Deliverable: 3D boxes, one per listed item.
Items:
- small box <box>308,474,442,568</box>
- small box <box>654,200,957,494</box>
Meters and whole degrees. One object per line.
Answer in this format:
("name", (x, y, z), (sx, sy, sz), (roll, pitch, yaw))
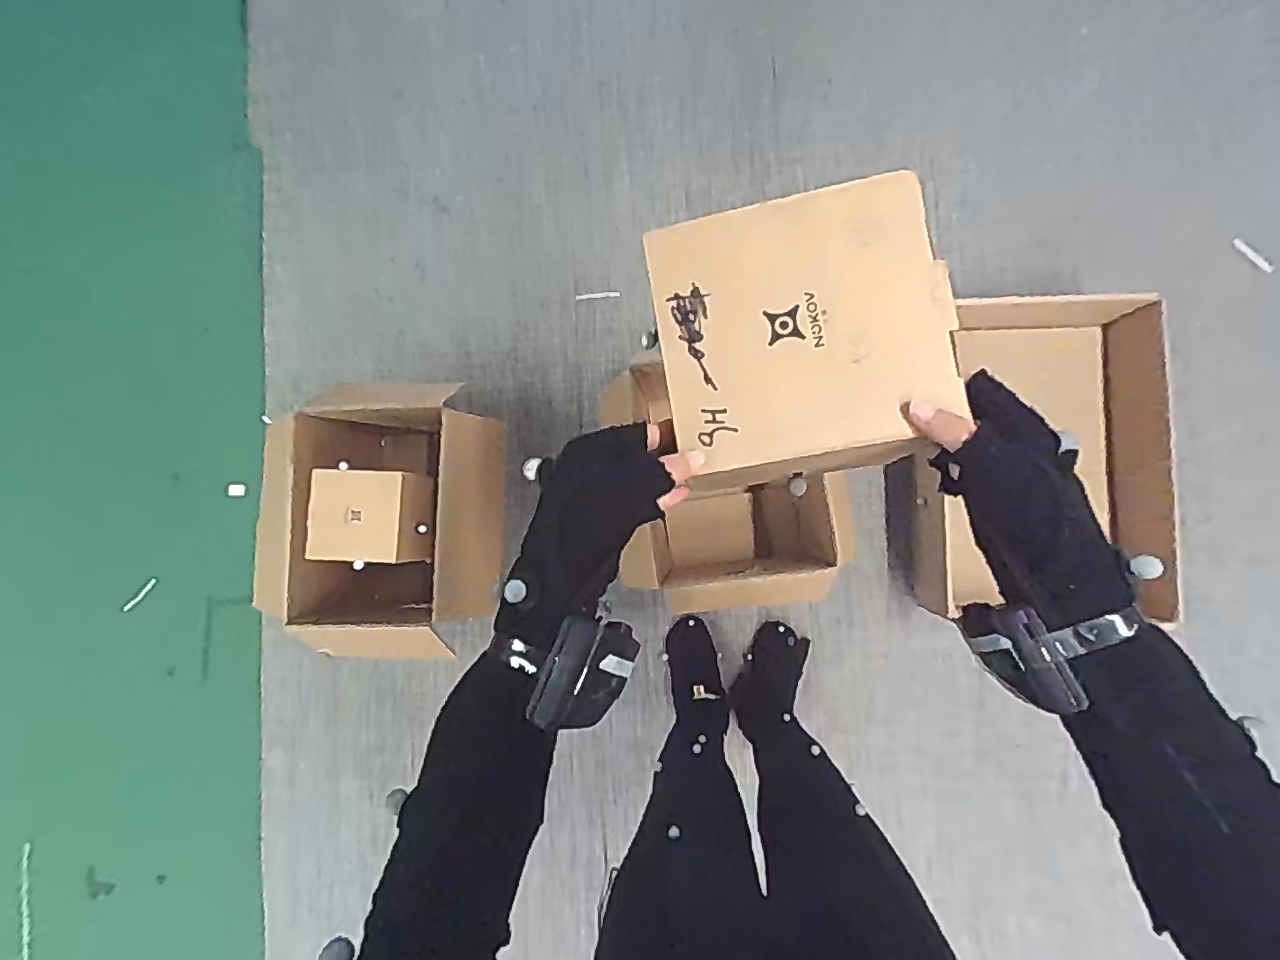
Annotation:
("small box", (-0.506, 0.079, 1.057), (0.179, 0.176, 0.168), (2, 85, 5))
("small box", (0.113, -0.085, 0.435), (0.179, 0.176, 0.168), (-9, 83, 6))
